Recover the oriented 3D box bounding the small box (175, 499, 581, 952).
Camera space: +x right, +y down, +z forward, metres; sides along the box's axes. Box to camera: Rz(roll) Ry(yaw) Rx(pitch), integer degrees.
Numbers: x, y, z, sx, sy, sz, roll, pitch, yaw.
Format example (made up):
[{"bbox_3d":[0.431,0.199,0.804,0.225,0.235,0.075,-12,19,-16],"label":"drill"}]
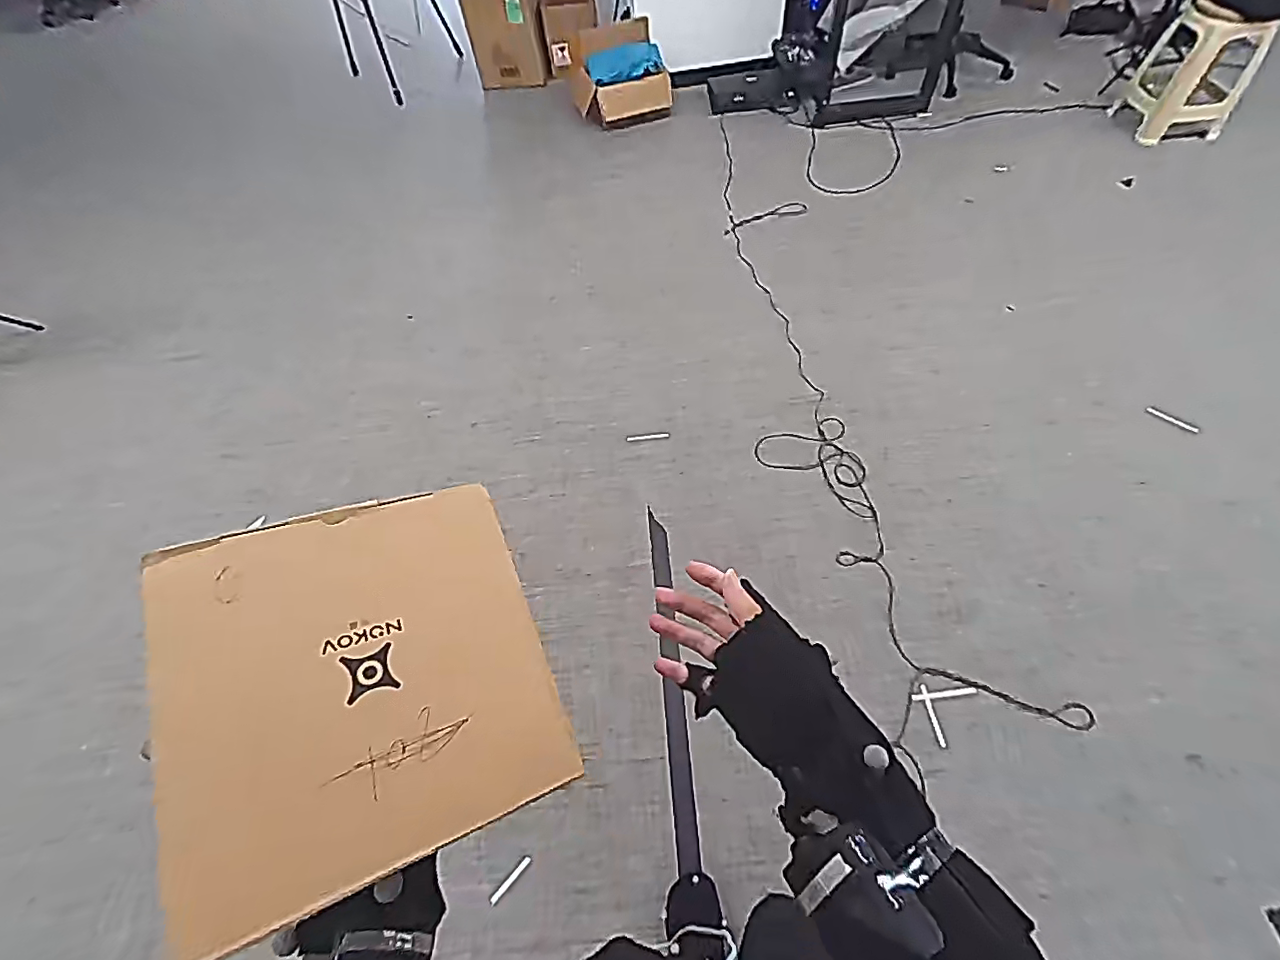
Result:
[{"bbox_3d":[-0.158,0.139,0.340,0.168,0.176,0.179,-13,64,-27],"label":"small box"}]
